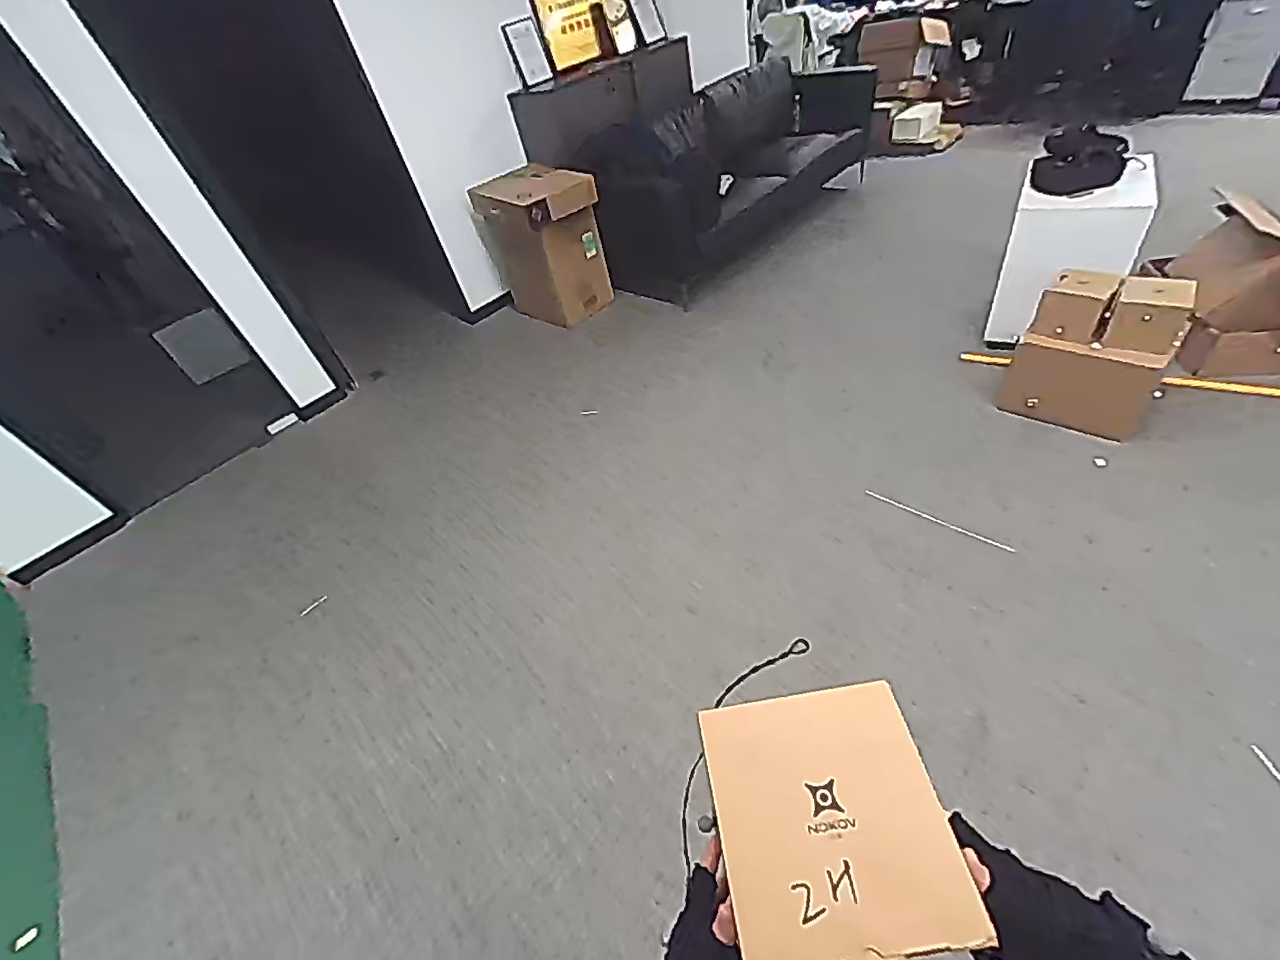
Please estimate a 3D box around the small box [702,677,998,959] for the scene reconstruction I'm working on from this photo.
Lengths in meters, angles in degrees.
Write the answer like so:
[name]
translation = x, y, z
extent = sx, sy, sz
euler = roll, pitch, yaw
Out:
[small box]
translation = 0.150, 0.295, 0.460
extent = 0.168, 0.176, 0.179
euler = -10, 48, 2
